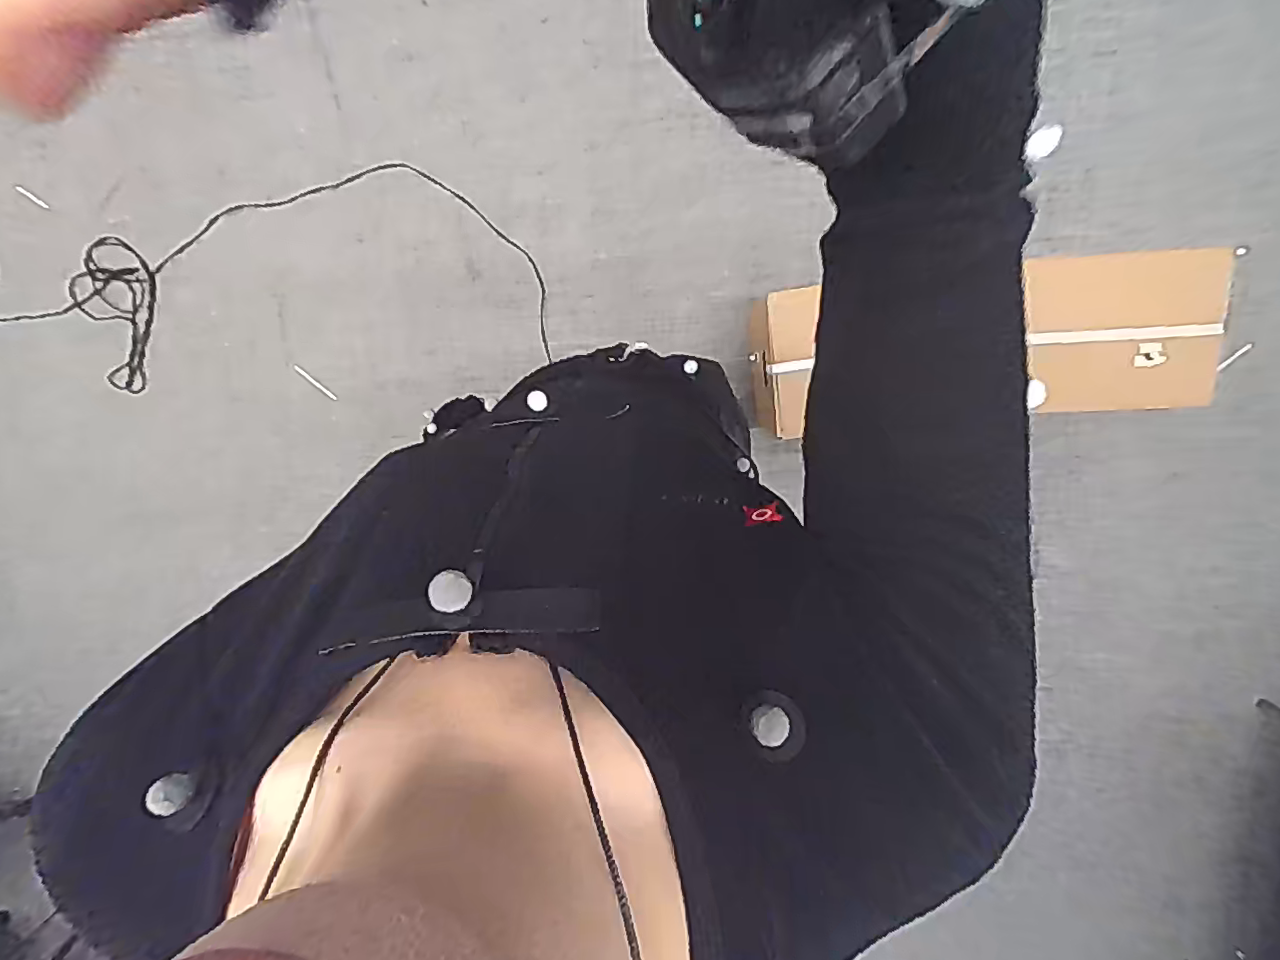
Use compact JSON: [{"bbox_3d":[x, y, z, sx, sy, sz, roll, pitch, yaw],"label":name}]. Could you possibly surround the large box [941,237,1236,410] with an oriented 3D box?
[{"bbox_3d":[0.959,-0.337,1.220,0.408,0.320,0.320,-2,103,3],"label":"large box"}]
